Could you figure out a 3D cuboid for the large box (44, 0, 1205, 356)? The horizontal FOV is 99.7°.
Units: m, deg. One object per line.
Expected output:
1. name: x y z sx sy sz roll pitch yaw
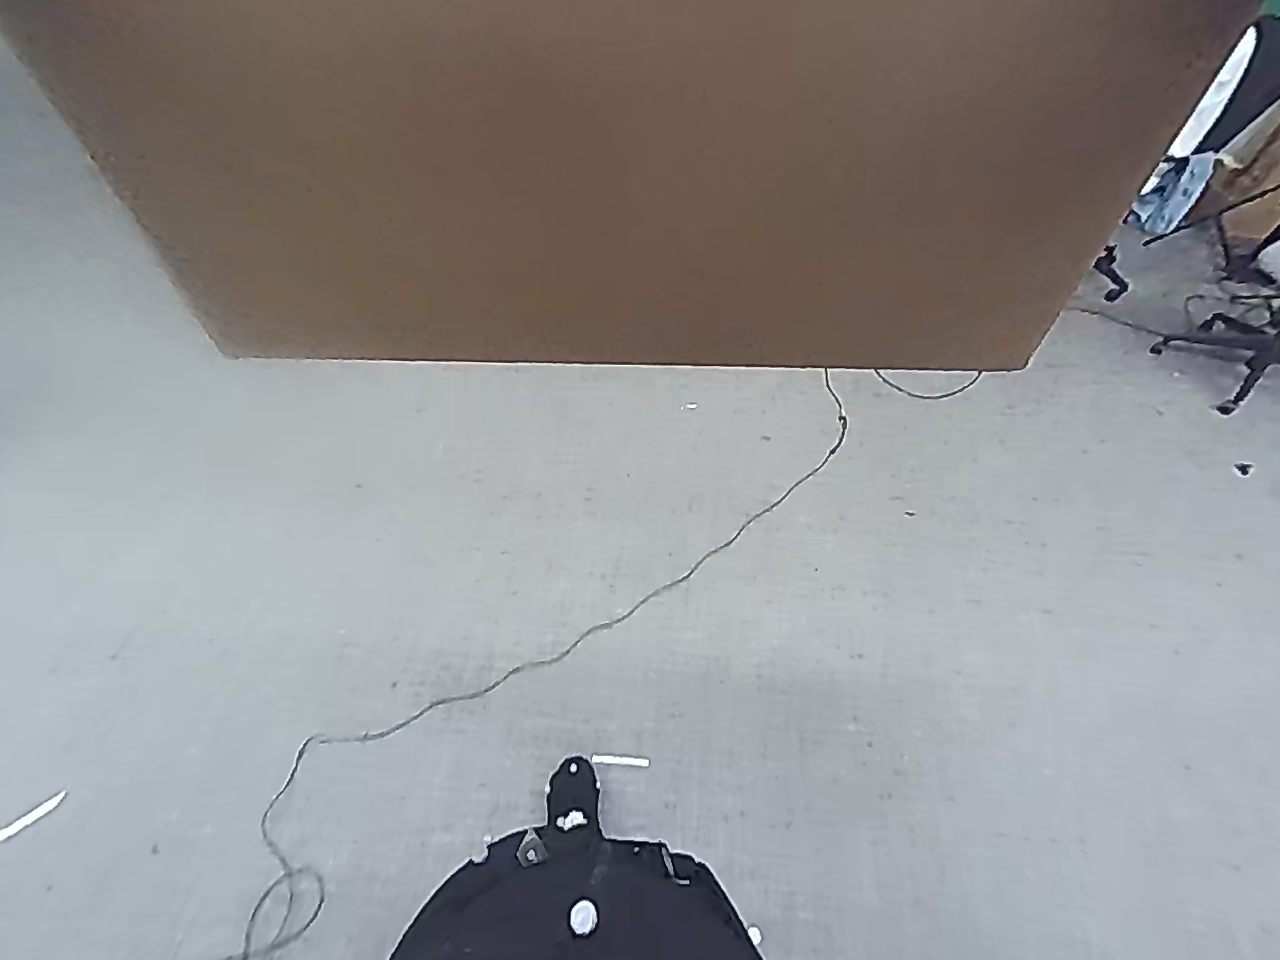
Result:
1. large box: -0.005 -0.277 0.274 0.408 0.320 0.320 1 49 0
